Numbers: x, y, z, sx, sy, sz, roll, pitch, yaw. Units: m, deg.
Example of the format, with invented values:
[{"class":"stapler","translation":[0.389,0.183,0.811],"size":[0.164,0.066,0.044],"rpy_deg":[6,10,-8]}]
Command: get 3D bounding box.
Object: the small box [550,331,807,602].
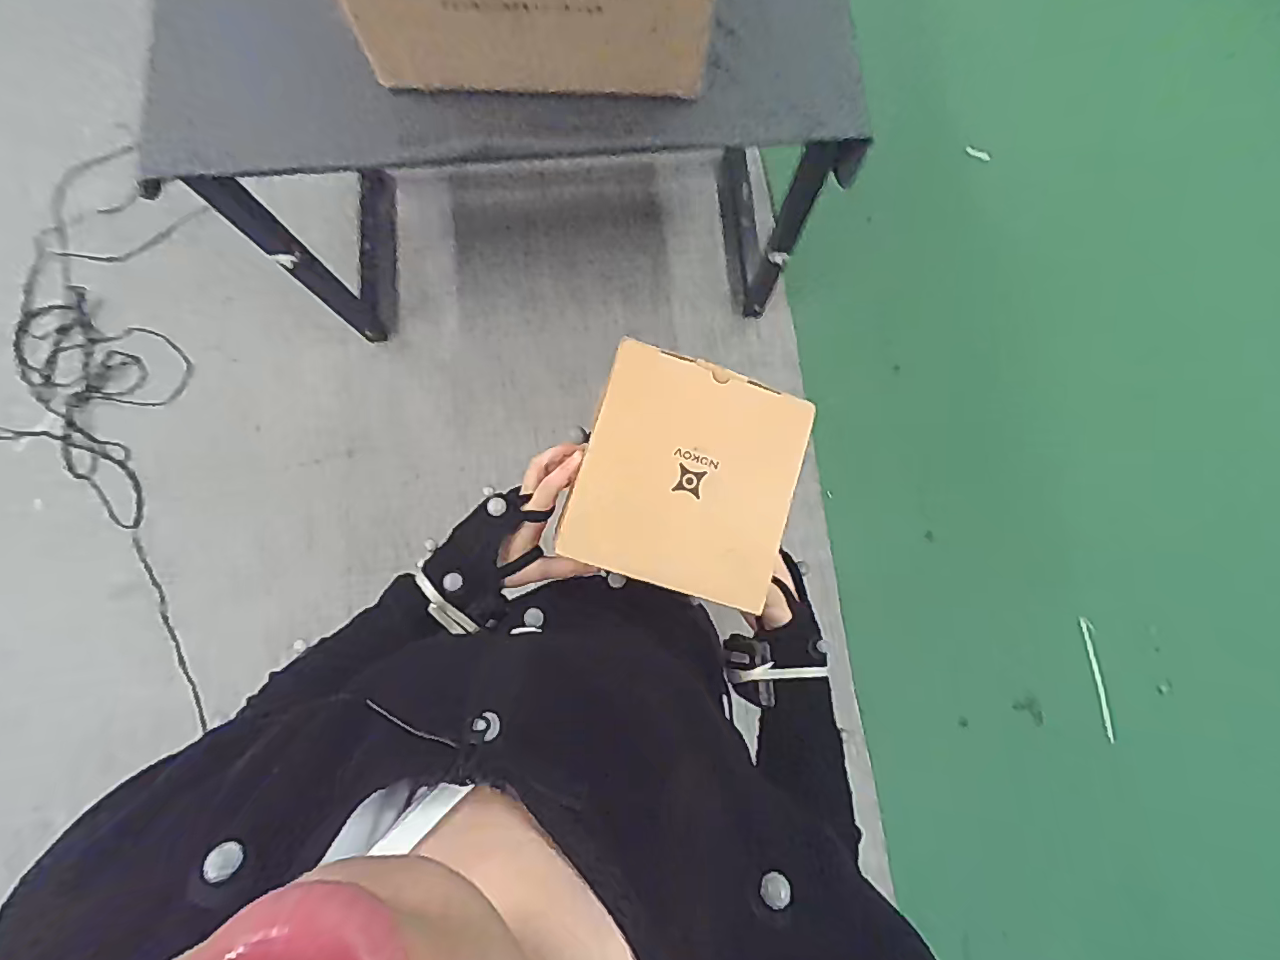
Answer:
[{"class":"small box","translation":[0.024,-0.004,0.497],"size":[0.168,0.176,0.179],"rpy_deg":[17,82,-6]}]
